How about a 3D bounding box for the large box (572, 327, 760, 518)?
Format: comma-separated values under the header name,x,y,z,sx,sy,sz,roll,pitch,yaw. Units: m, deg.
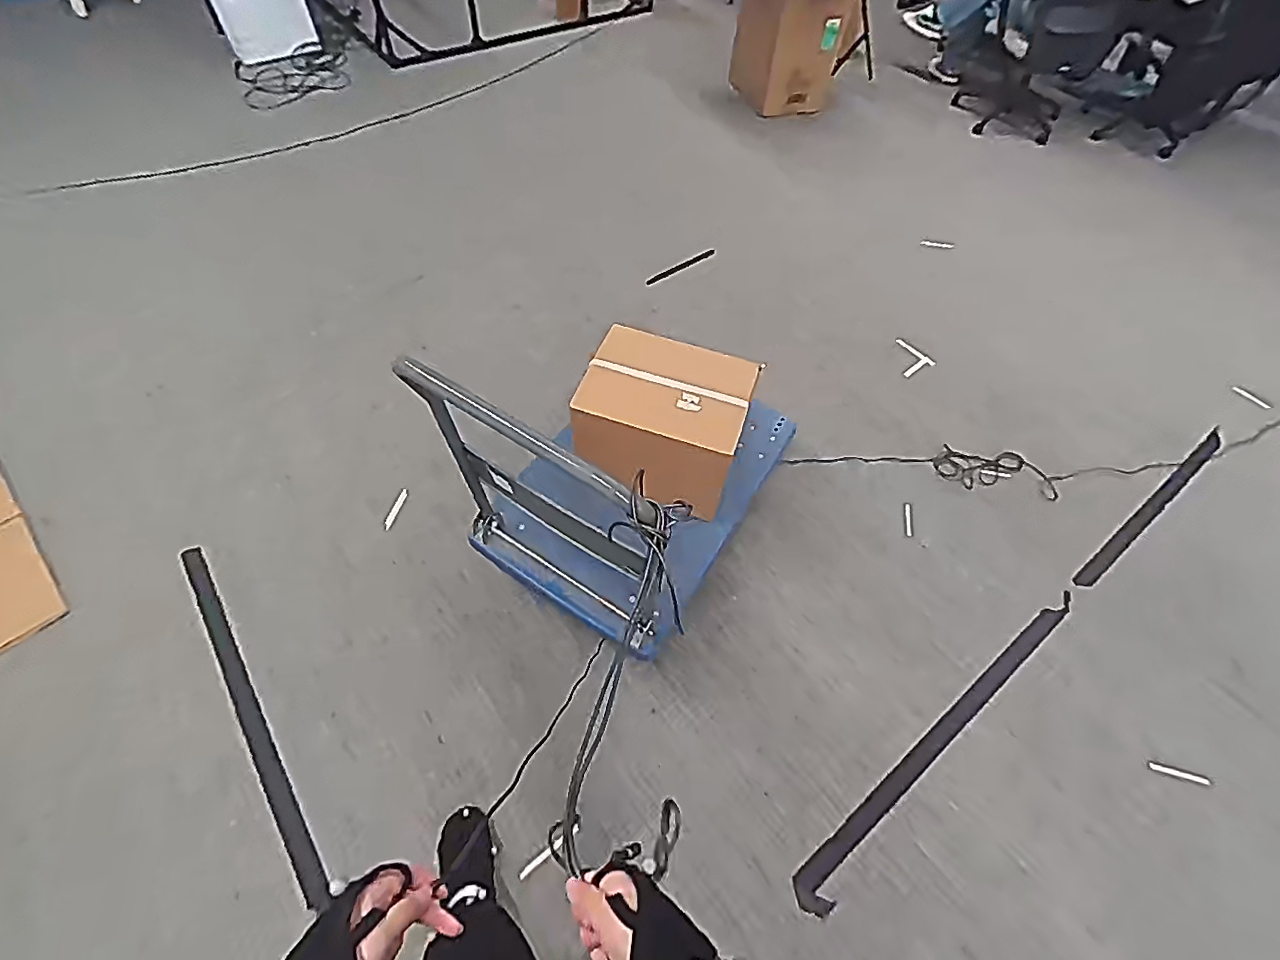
name,x,y,z,sx,sy,sz,roll,pitch,yaw
large box,0.062,-0.149,1.447,0.408,0.320,0.320,18,58,7
